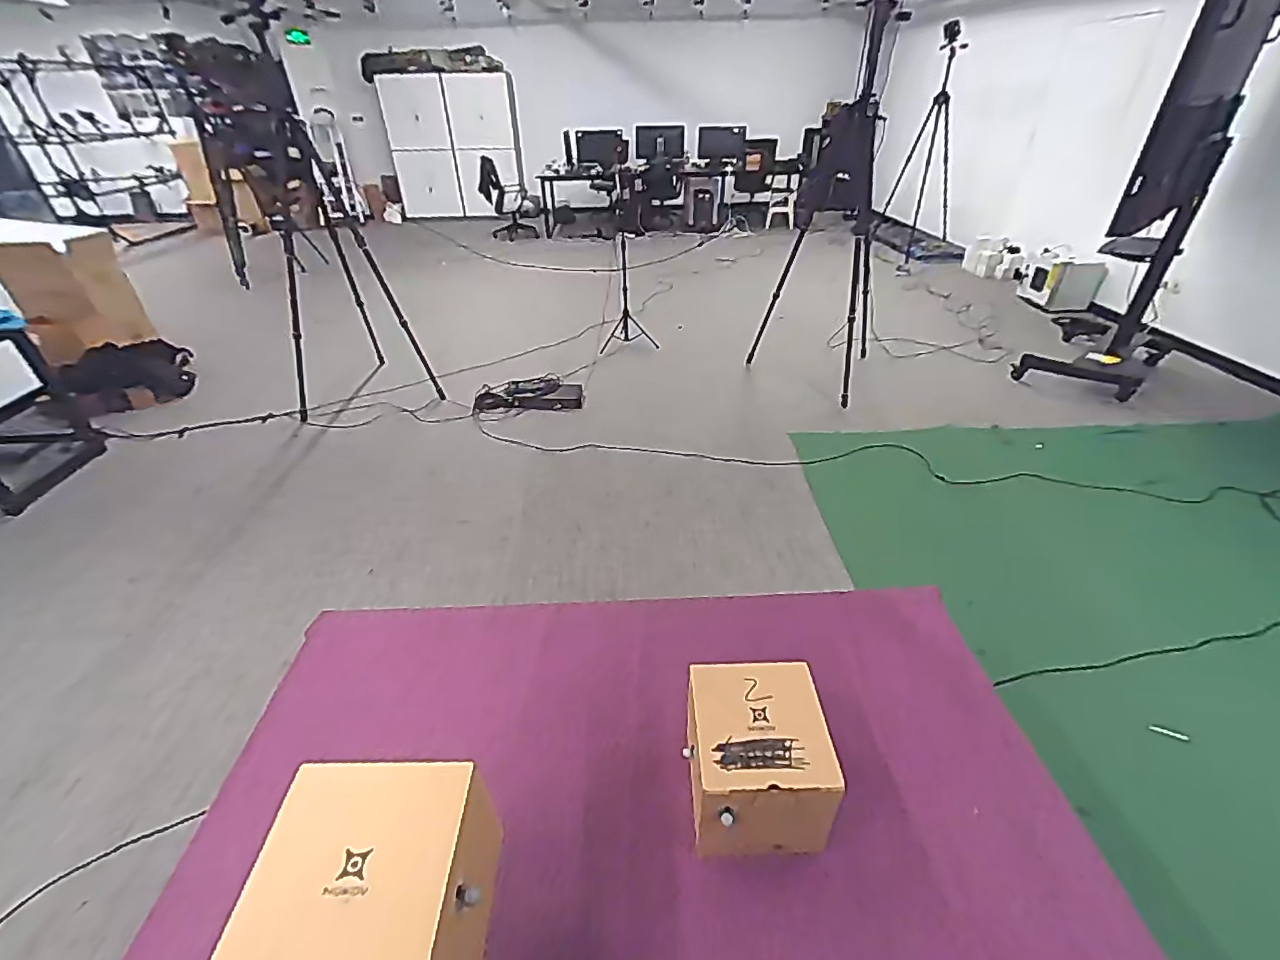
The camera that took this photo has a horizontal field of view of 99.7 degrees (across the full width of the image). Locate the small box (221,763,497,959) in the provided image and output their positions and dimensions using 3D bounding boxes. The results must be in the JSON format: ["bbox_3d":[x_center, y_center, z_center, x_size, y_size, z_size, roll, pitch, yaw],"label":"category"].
[{"bbox_3d":[-0.239,0.394,0.510,0.168,0.176,0.179,-1,39,0],"label":"small box"}]
